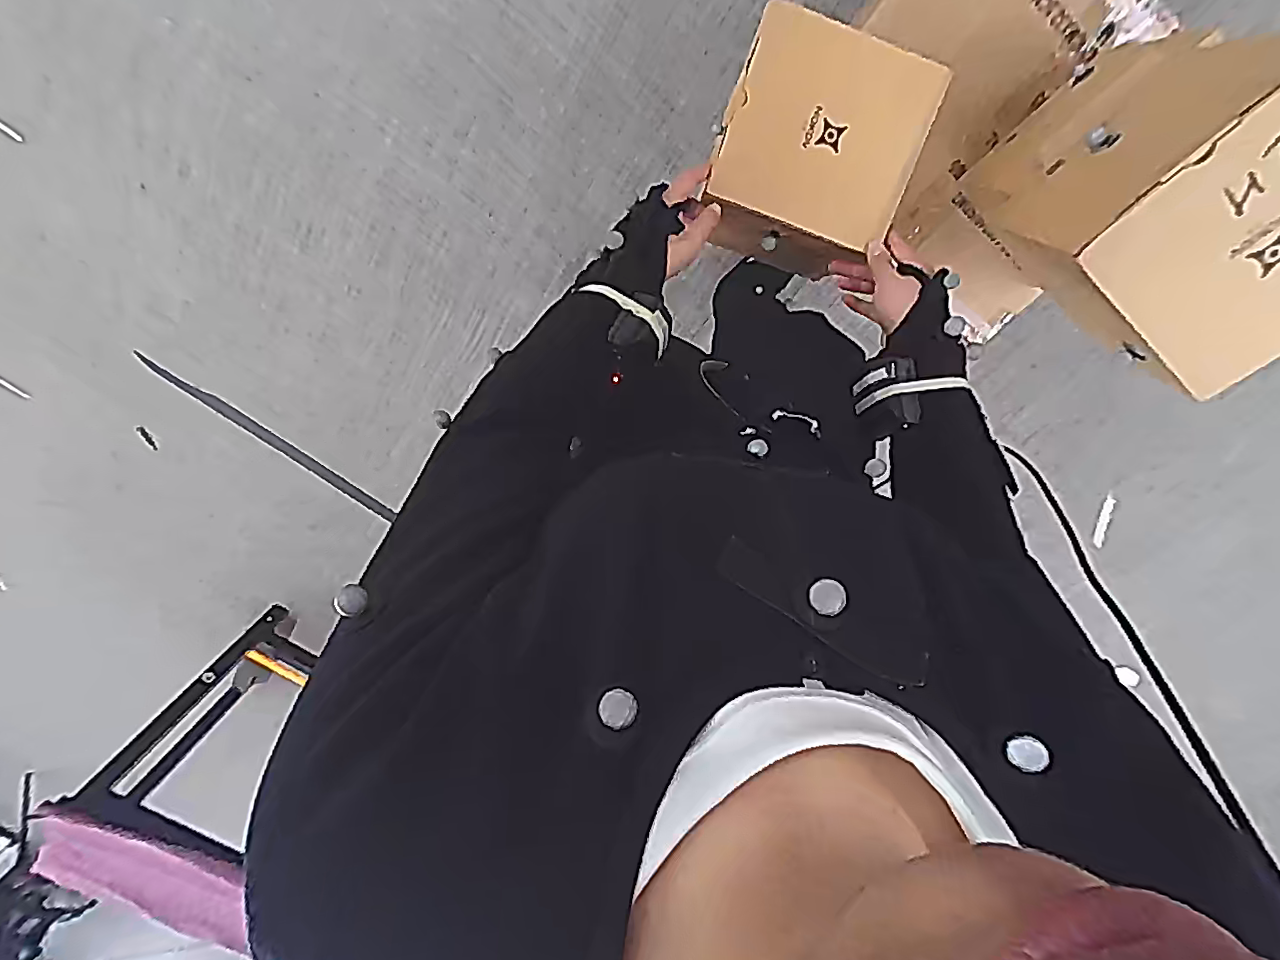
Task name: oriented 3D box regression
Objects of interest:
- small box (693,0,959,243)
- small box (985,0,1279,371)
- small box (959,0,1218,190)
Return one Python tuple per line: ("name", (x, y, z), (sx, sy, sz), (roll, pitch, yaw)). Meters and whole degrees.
("small box", (0.163, -0.351, 0.544), (0.179, 0.176, 0.168), (19, 109, -3))
("small box", (0.411, -0.221, 0.406), (0.179, 0.176, 0.168), (34, 124, -13))
("small box", (0.455, -0.327, 0.527), (0.179, 0.176, 0.168), (36, 124, -15))
